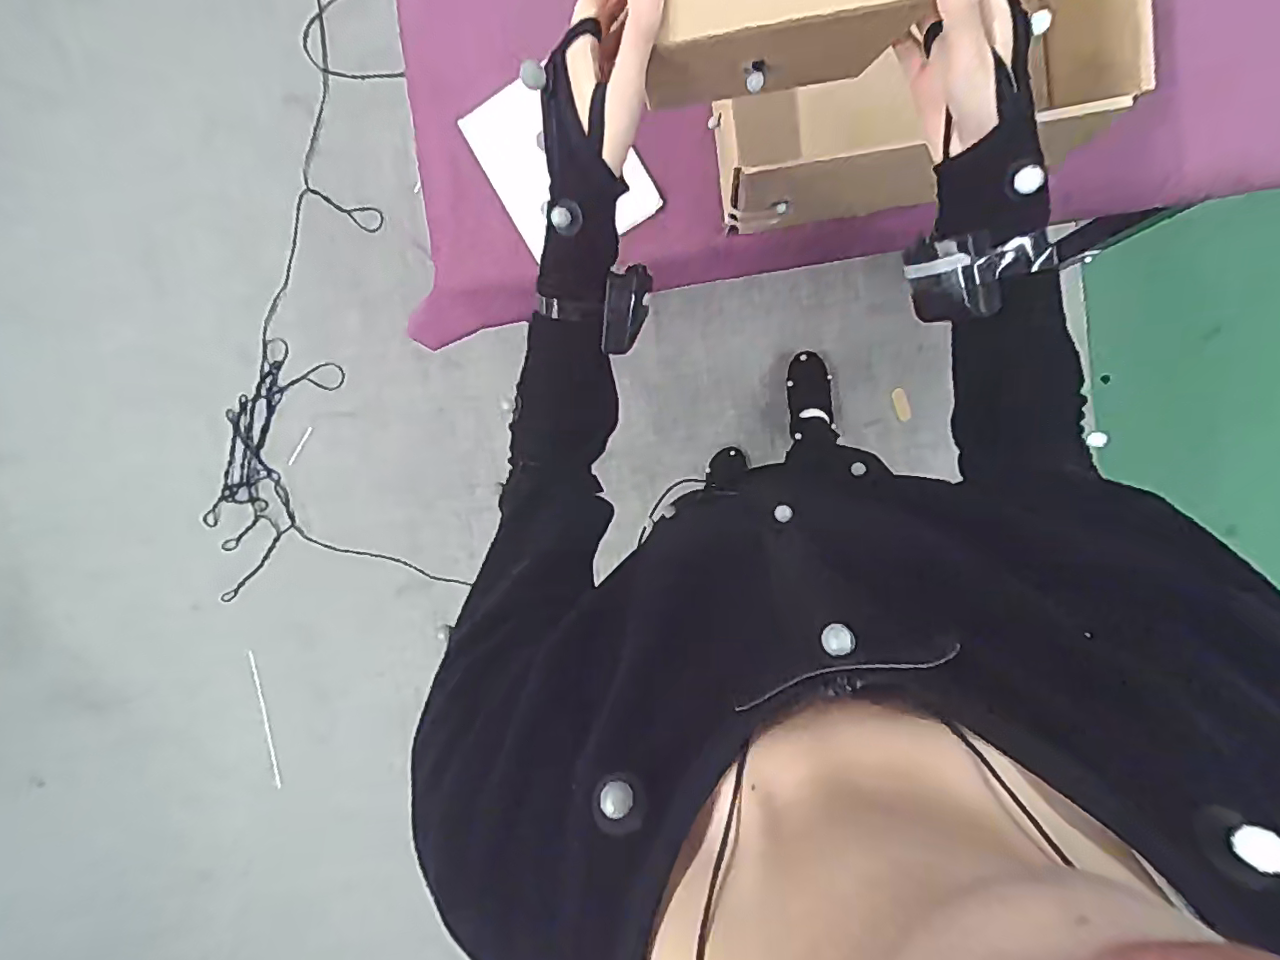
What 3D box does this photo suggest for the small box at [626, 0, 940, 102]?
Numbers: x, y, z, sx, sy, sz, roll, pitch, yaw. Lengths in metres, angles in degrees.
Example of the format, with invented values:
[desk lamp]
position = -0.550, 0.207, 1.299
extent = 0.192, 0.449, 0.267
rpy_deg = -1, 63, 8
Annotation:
[small box]
position = 0.077, -0.360, 0.338
extent = 0.179, 0.176, 0.168
rpy_deg = -4, 113, 7
